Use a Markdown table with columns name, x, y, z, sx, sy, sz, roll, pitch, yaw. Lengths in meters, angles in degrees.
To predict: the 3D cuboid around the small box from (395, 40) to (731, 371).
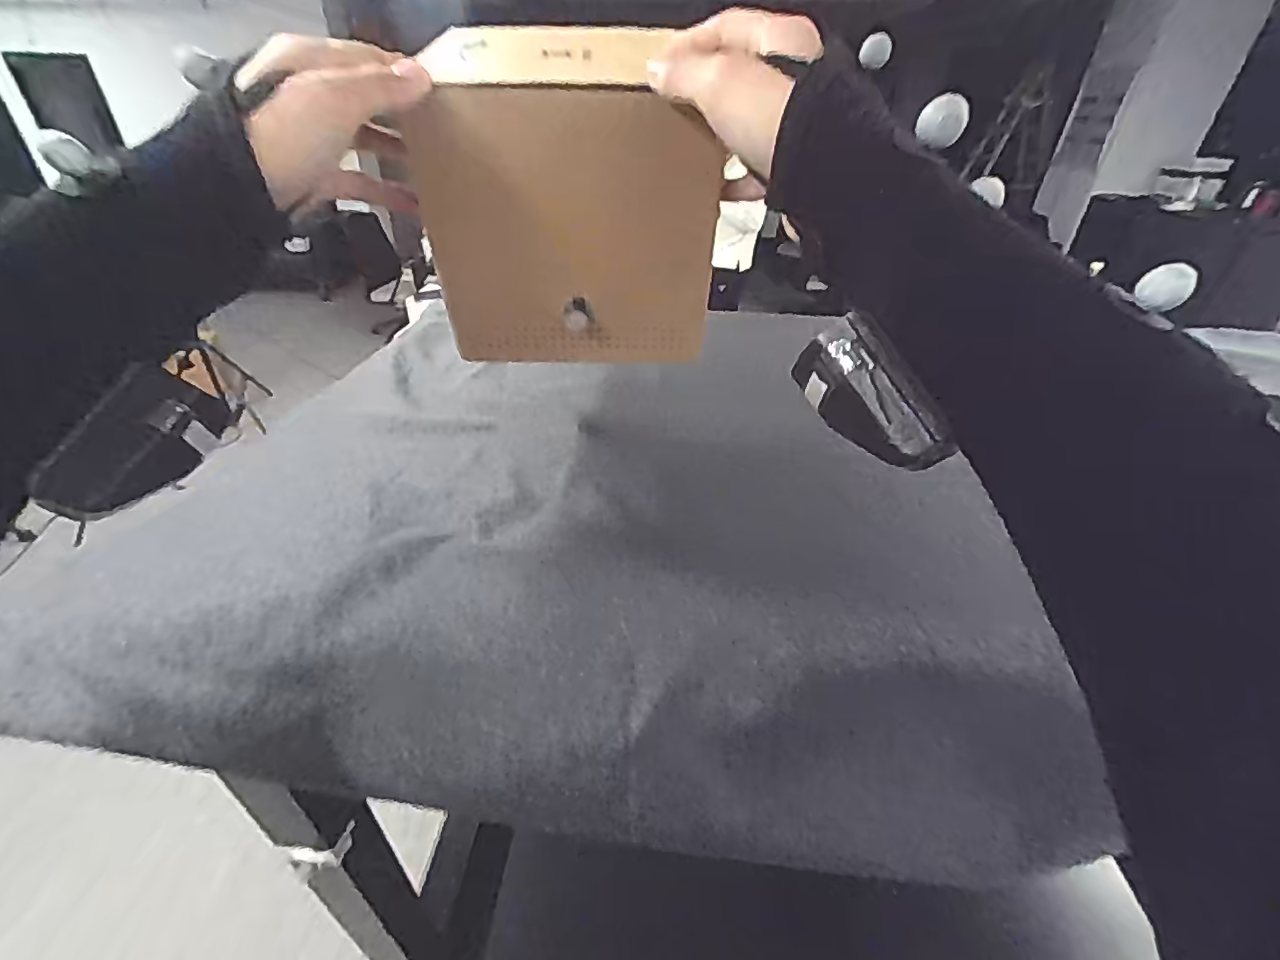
| name | x | y | z | sx | sy | sz | roll | pitch | yaw |
| --- | --- | --- | --- | --- | --- | --- | --- | --- | --- |
| small box | -0.043 | -0.192 | 0.390 | 0.179 | 0.176 | 0.168 | 0 | 46 | -3 |
